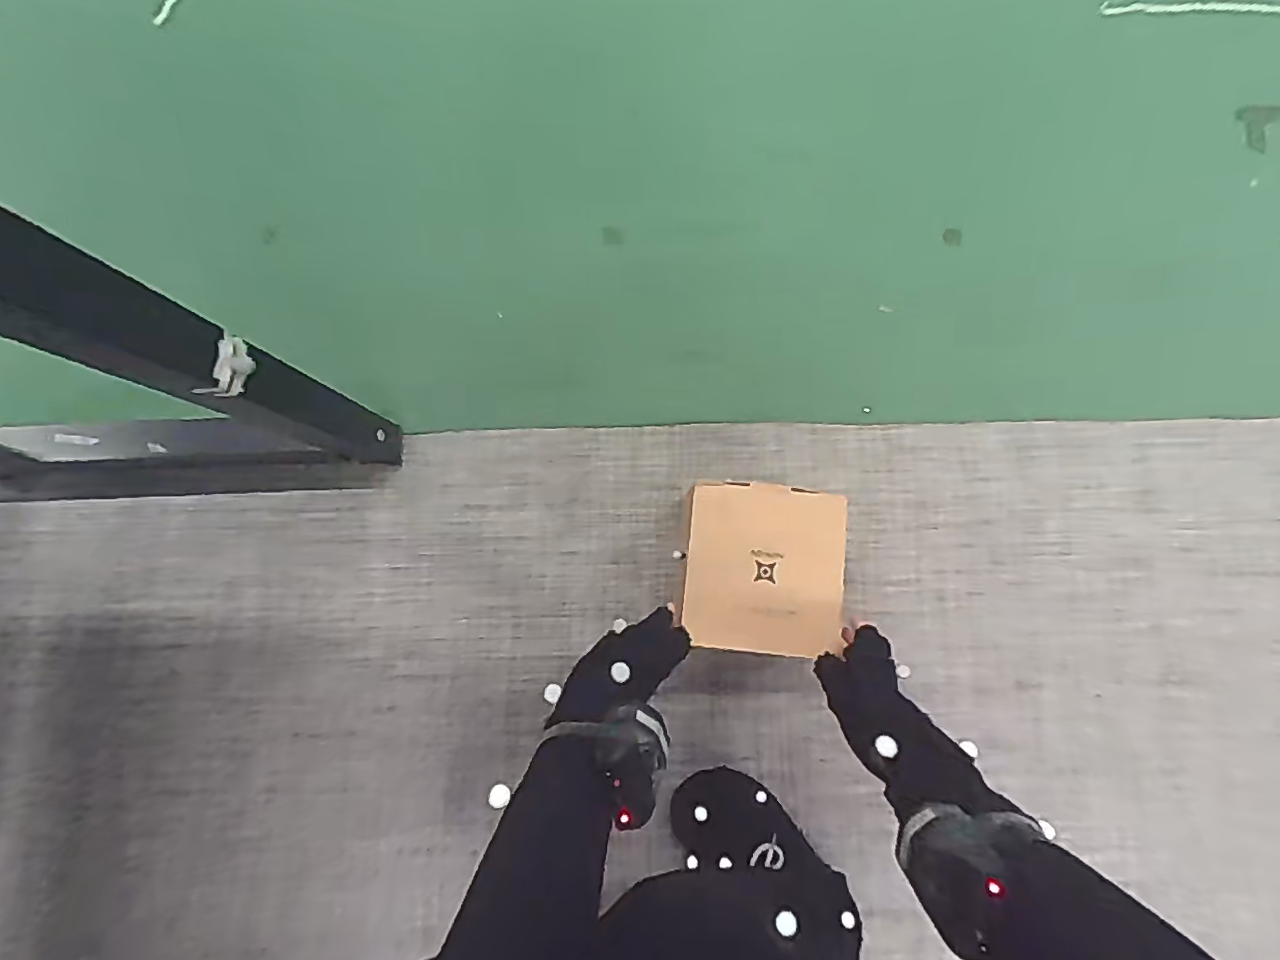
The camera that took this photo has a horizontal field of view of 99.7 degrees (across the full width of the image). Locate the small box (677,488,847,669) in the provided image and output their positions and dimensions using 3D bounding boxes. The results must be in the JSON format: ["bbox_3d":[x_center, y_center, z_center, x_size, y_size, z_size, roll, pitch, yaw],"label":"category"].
[{"bbox_3d":[0.134,0.113,0.647,0.168,0.176,0.179,5,82,3],"label":"small box"}]
